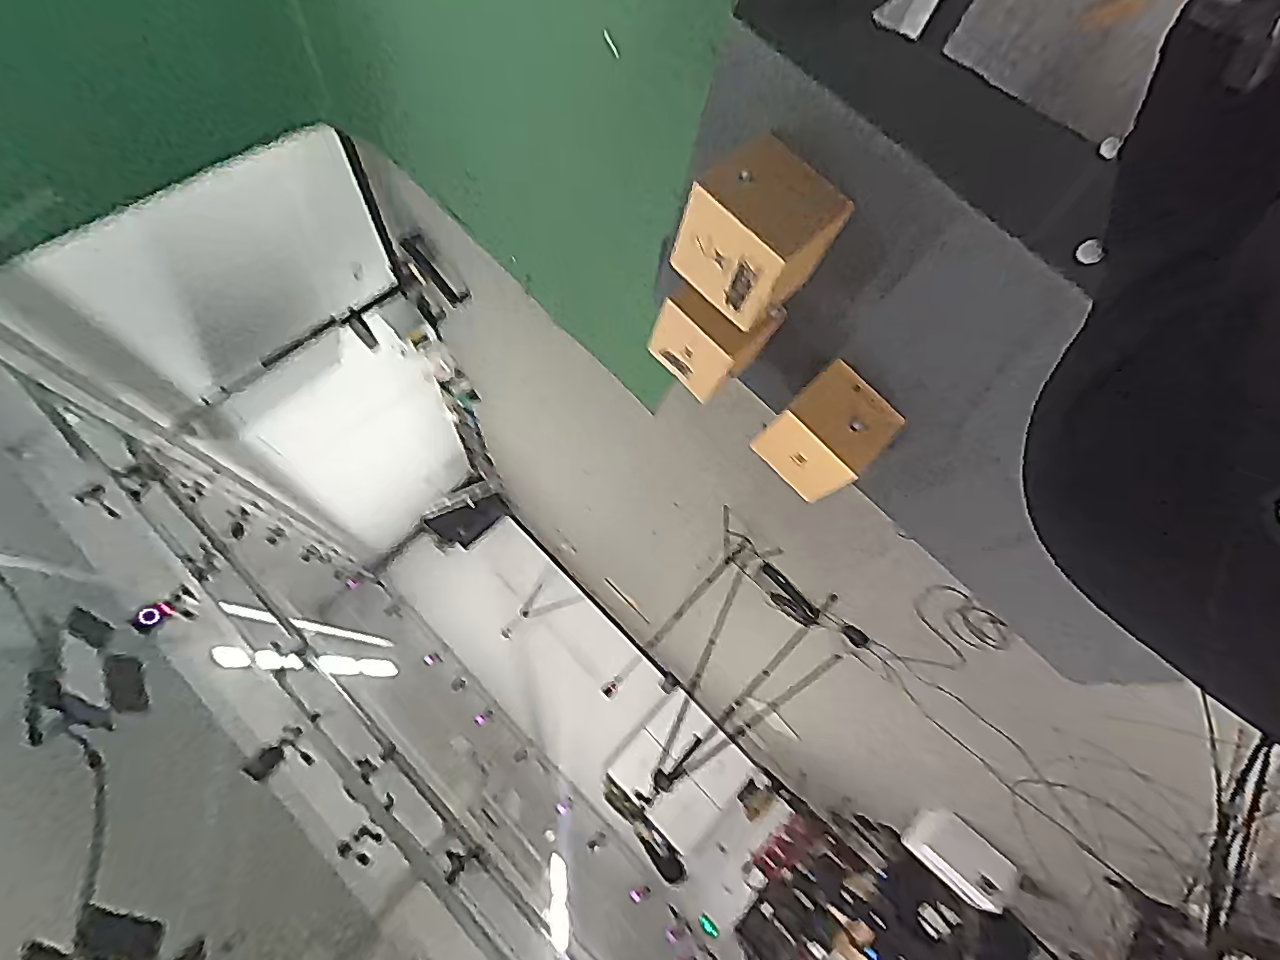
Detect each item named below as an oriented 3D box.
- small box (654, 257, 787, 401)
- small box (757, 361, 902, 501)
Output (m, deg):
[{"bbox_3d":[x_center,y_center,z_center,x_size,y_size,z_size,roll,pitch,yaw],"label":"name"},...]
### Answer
[{"bbox_3d":[0.156,-0.293,1.062,0.168,0.176,0.179,45,159,6],"label":"small box"},{"bbox_3d":[0.362,-0.092,1.029,0.168,0.176,0.179,45,160,6],"label":"small box"}]
